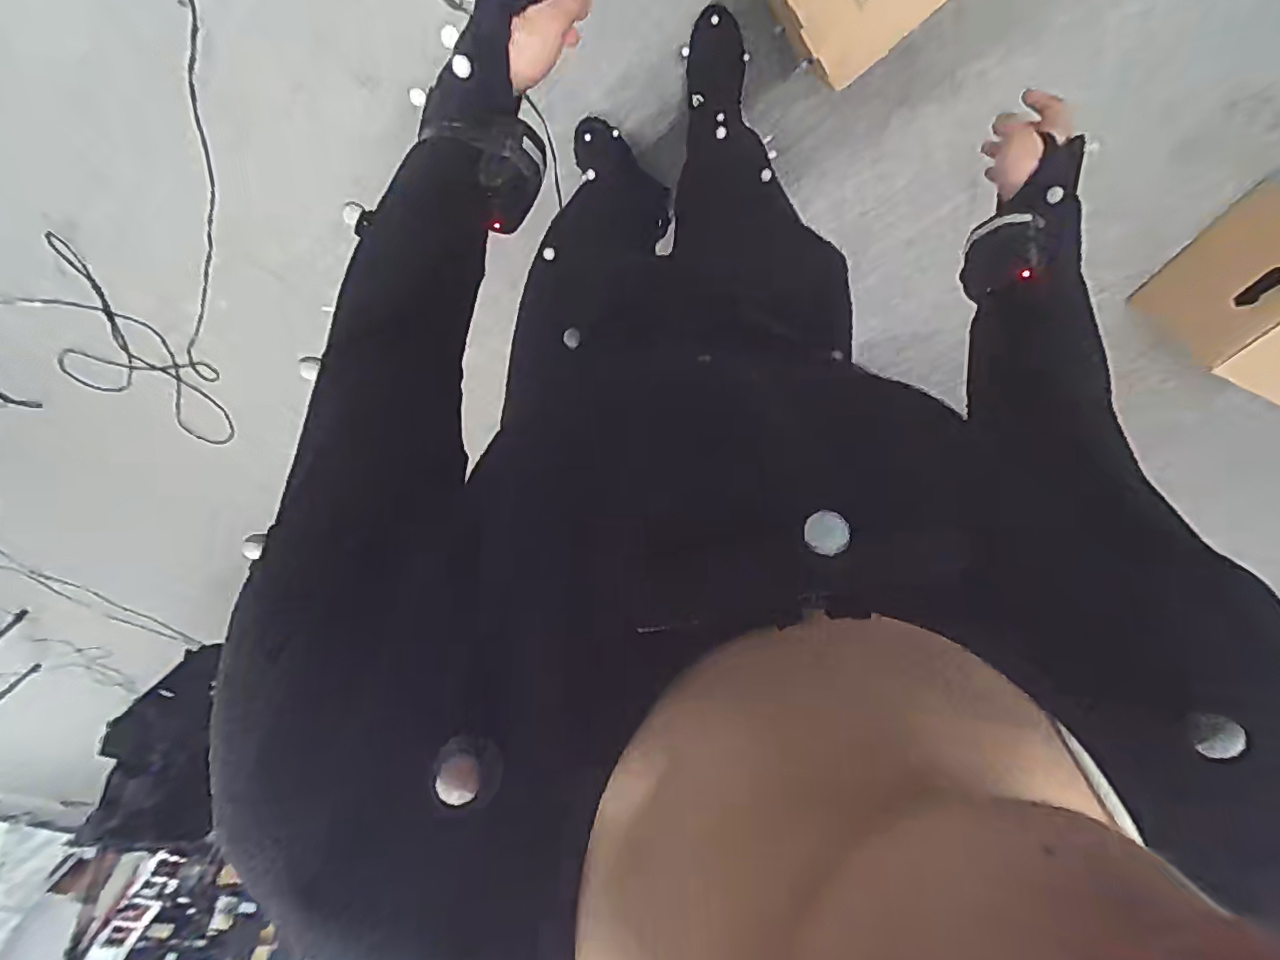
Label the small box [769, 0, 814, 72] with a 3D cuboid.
[{"bbox_3d":[0.312,-0.836,0.901,0.179,0.176,0.168,-28,129,28],"label":"small box"}]

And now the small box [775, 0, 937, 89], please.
[{"bbox_3d":[0.301,-0.724,0.784,0.179,0.176,0.168,-32,128,29],"label":"small box"}]
